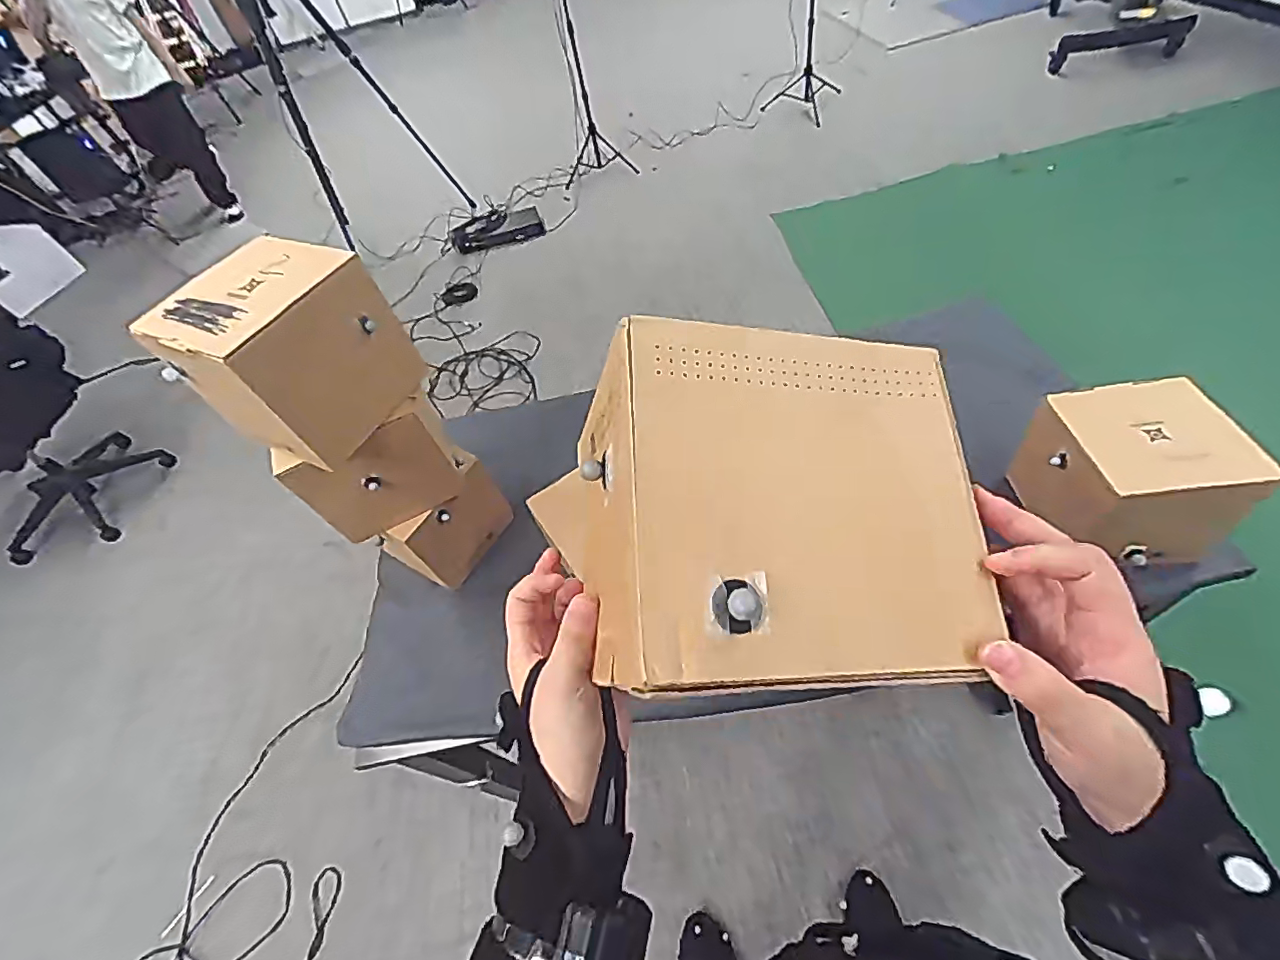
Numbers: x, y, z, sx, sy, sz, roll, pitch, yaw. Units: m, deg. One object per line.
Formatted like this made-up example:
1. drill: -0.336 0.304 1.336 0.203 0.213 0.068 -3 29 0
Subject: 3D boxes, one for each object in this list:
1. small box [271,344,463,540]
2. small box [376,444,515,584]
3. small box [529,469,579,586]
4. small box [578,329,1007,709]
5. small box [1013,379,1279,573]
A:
1. small box: -0.367 -0.049 0.751 0.179 0.176 0.168 -28 54 -8
2. small box: -0.339 0.045 0.884 0.179 0.176 0.168 22 61 25
3. small box: -0.029 0.087 0.782 0.168 0.176 0.179 -32 53 -13
4. small box: 0.060 0.030 0.317 0.179 0.168 0.176 2 72 -13
5. small box: 0.622 -0.002 0.696 0.168 0.176 0.179 -7 49 9
